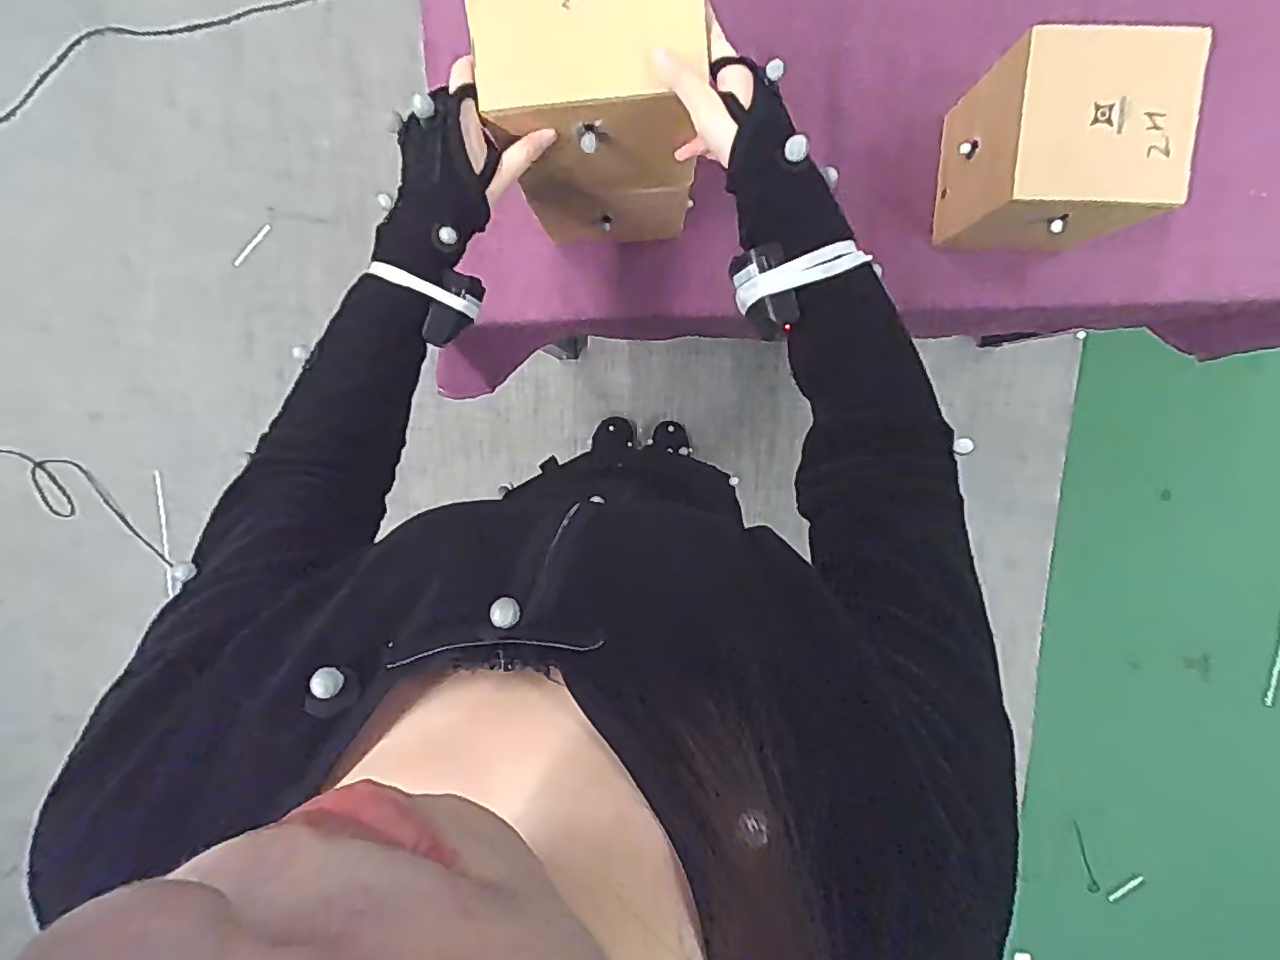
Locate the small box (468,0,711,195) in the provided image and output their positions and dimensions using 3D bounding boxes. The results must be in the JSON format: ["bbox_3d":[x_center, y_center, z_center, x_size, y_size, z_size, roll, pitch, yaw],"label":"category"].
[{"bbox_3d":[-0.037,-0.369,0.468,0.179,0.176,0.168,-4,97,3],"label":"small box"}]

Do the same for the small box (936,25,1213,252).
[{"bbox_3d":[0.469,-0.370,0.617,0.179,0.176,0.168,3,98,1],"label":"small box"}]

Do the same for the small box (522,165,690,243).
[{"bbox_3d":[-0.036,-0.389,0.630,0.179,0.176,0.168,-3,97,3],"label":"small box"}]
